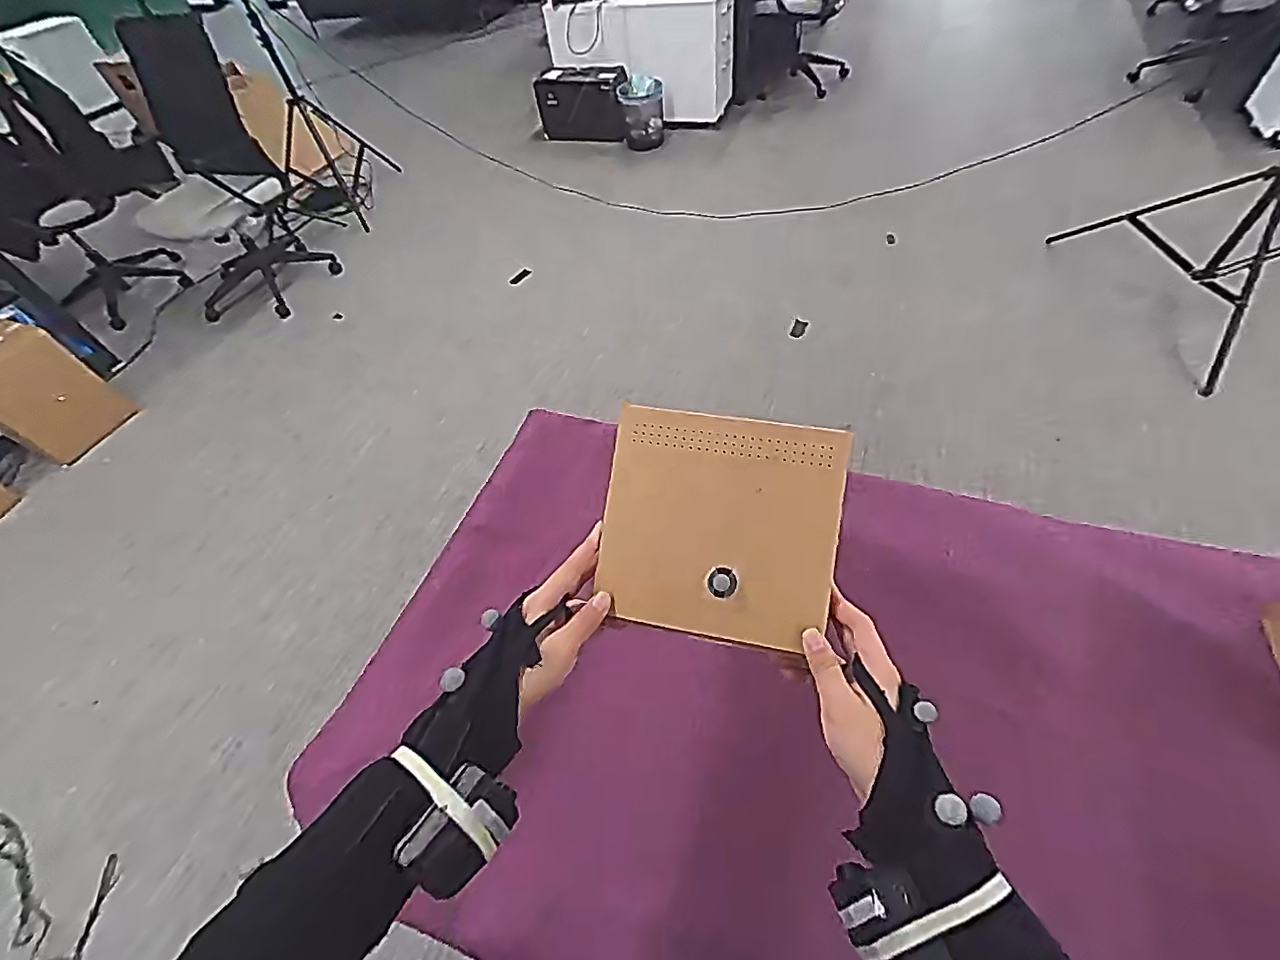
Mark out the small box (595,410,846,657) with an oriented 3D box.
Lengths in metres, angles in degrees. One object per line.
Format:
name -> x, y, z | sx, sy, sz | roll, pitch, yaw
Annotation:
small box -> 0.073, 0.041, 0.481 | 0.179, 0.168, 0.176 | 9, 84, 11
